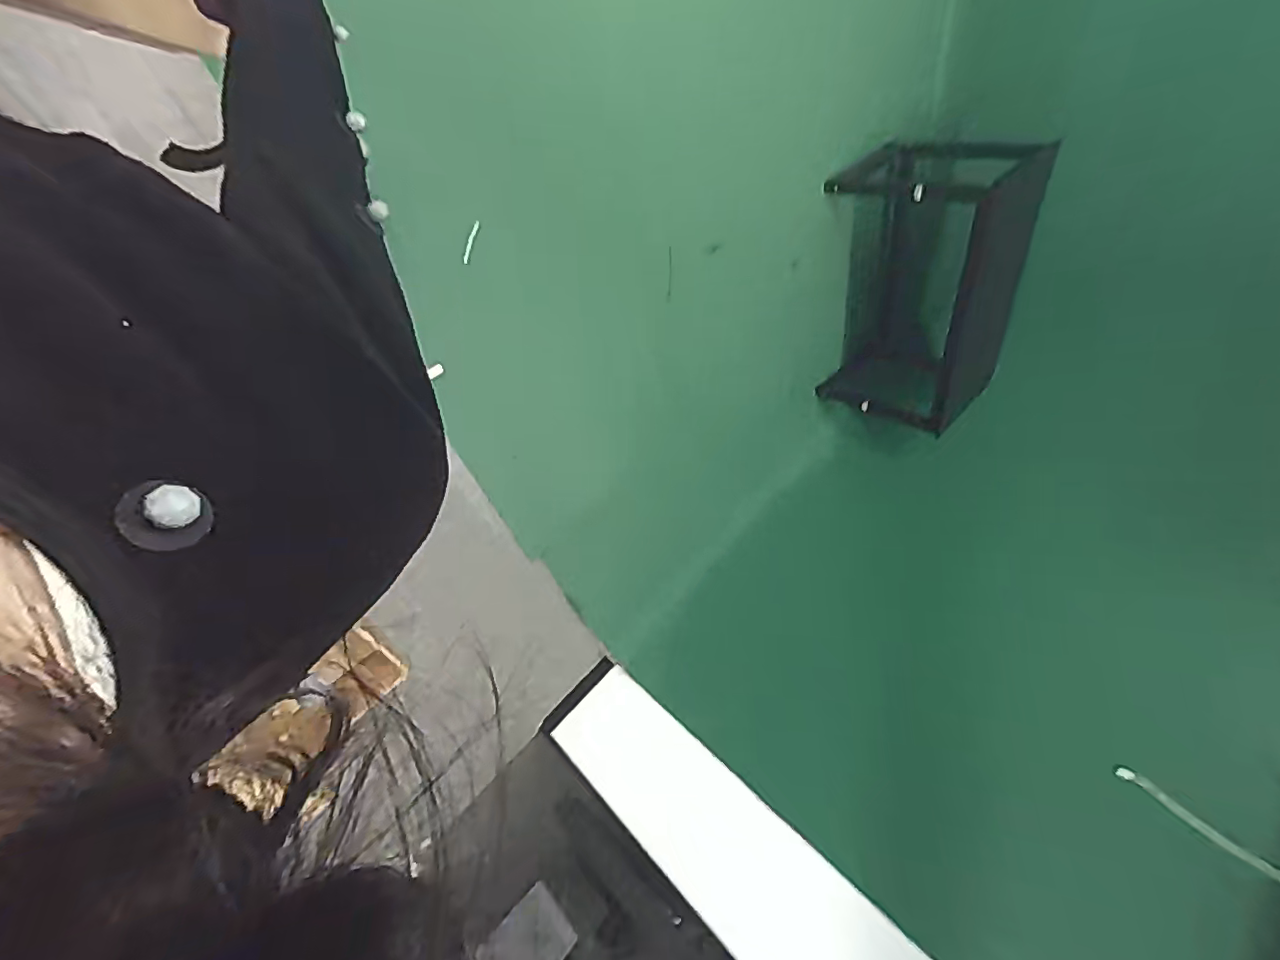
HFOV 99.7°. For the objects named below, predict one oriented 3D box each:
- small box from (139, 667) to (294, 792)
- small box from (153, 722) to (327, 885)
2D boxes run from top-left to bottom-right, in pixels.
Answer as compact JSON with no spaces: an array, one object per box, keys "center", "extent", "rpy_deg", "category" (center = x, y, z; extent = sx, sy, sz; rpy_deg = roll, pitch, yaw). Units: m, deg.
[{"center":[-0.821,0.502,1.057],"extent":[0.168,0.176,0.179],"rpy_deg":[-42,138,-22],"category":"small box"},{"center":[-0.707,0.563,0.956],"extent":[0.168,0.176,0.179],"rpy_deg":[-43,138,-20],"category":"small box"}]
